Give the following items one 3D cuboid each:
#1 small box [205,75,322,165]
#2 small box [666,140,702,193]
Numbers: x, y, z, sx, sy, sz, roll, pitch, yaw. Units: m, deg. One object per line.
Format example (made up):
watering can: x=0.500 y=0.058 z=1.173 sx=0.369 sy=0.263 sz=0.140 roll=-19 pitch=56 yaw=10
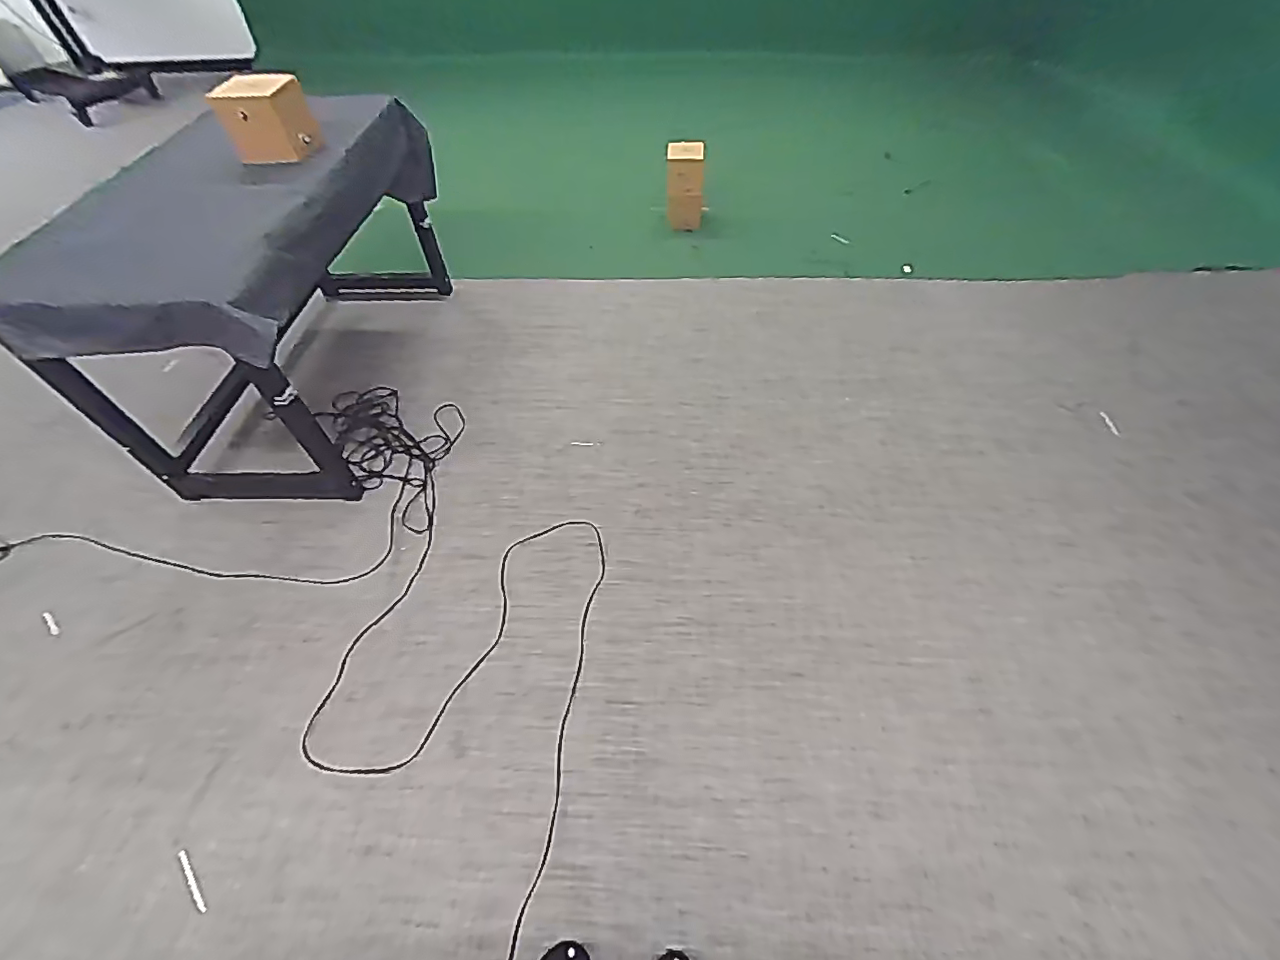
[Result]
small box: x=-1.041 y=-1.003 z=1.511 sx=0.179 sy=0.176 sz=0.168 roll=2 pitch=53 yaw=3
small box: x=0.207 y=-1.466 z=2.532 sx=0.168 sy=0.176 sz=0.179 roll=2 pitch=52 yaw=4
